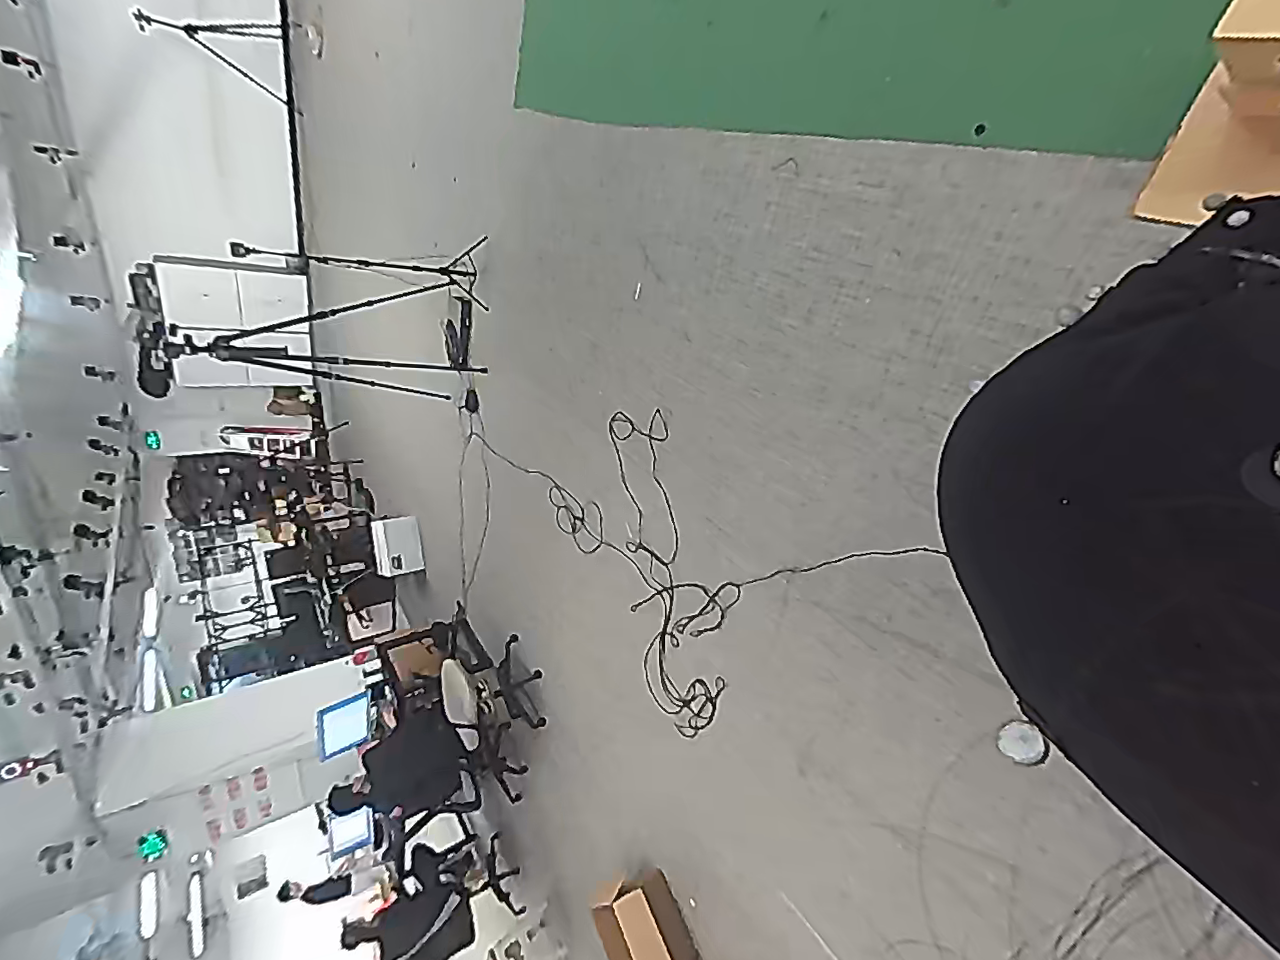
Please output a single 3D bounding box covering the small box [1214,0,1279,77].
[{"bbox_3d":[0.941,-0.654,0.715,0.179,0.176,0.168,46,131,40],"label":"small box"}]
